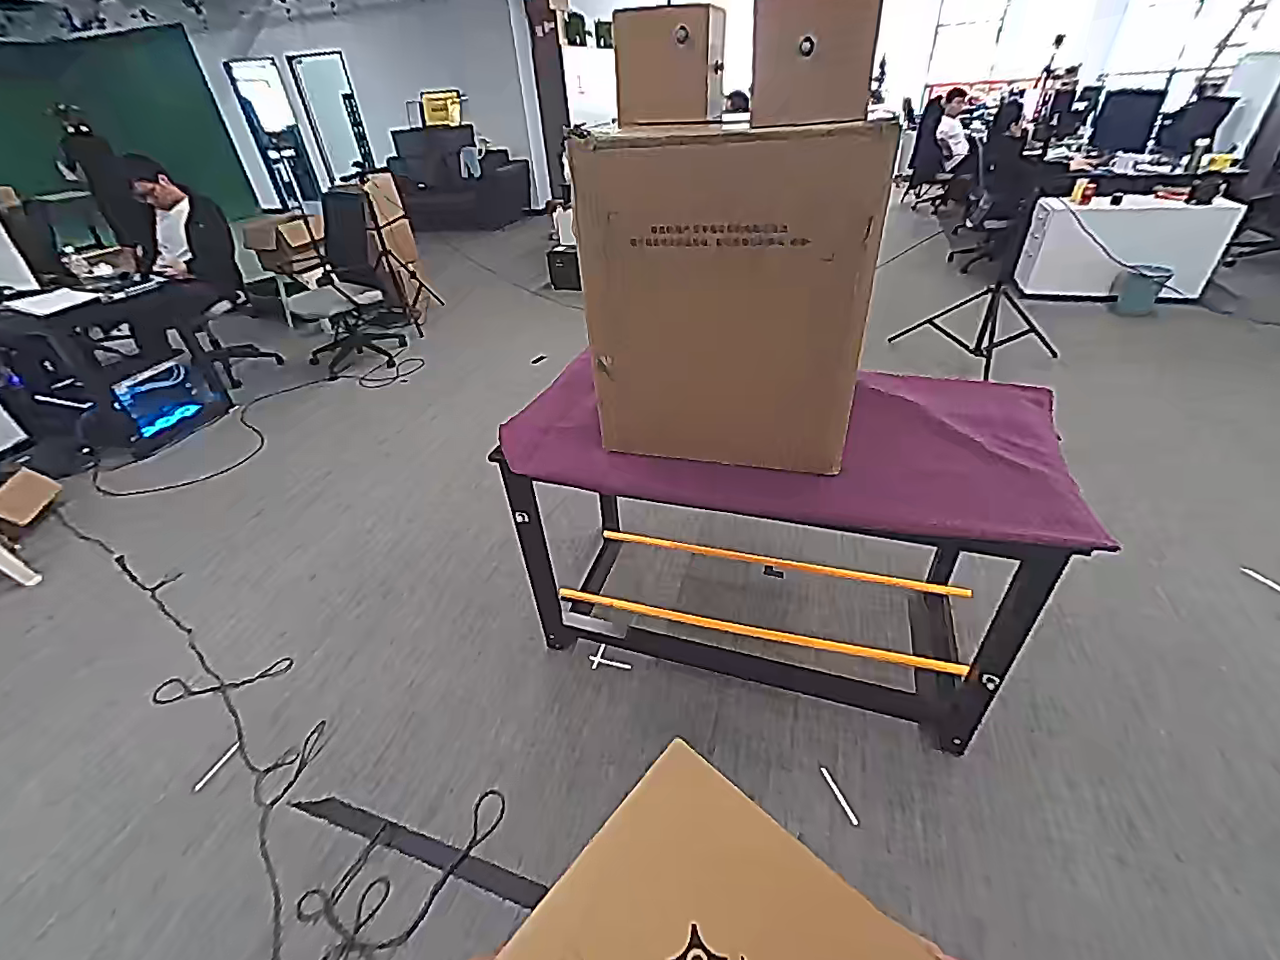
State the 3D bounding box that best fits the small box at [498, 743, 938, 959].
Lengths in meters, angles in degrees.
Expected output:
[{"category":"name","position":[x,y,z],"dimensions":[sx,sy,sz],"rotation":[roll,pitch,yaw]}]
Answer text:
[{"category":"small box","position":[0.045,0.313,0.330],"dimensions":[0.179,0.176,0.168],"rotation":[28,53,35]}]
